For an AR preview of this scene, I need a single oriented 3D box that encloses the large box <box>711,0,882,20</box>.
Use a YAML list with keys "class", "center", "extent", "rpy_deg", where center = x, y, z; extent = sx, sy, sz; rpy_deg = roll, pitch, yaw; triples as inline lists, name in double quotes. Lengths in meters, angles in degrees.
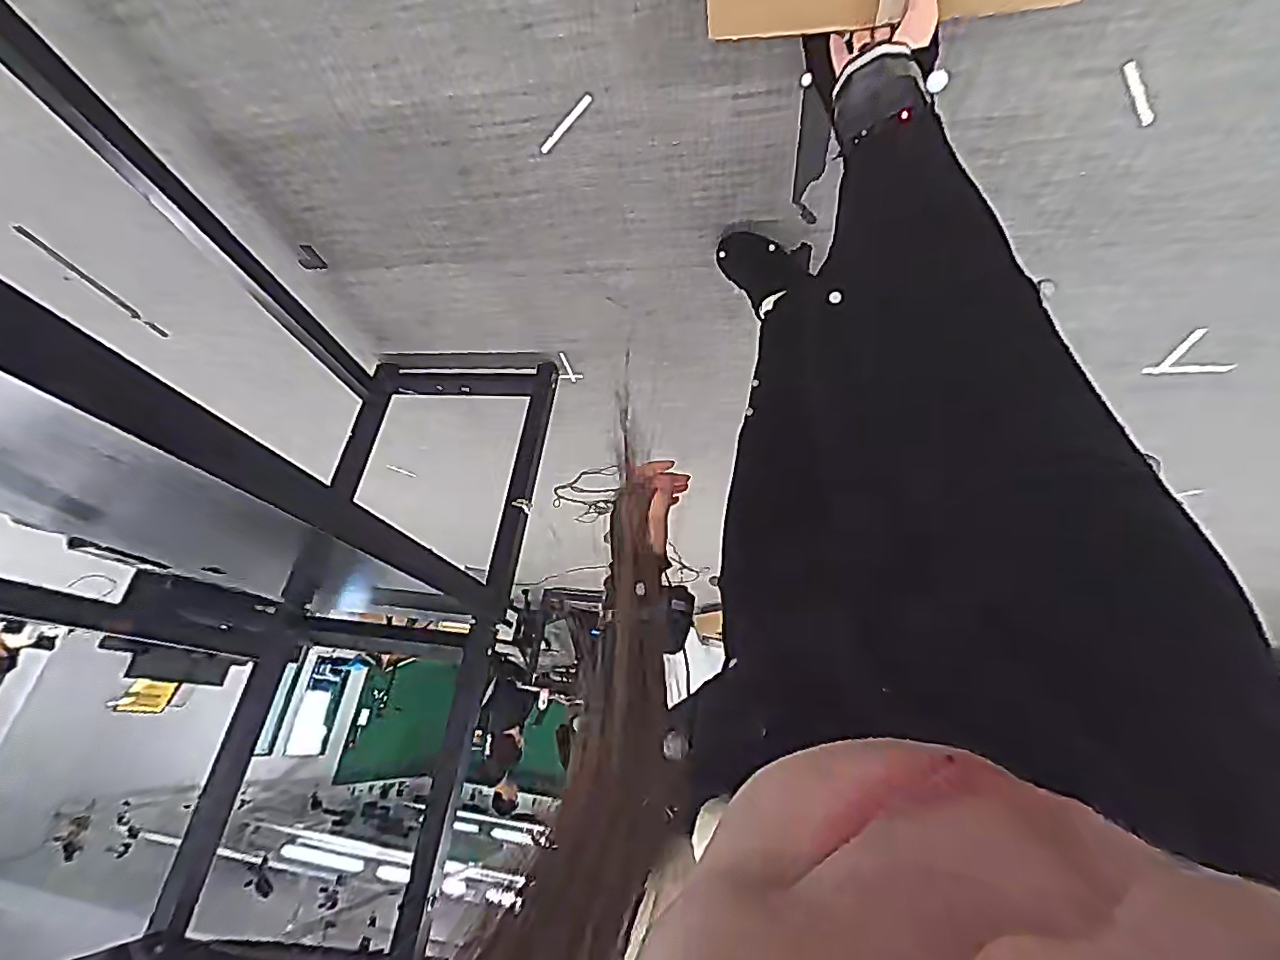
- class: "large box"
  center: [0.207, -0.637, 0.367]
  extent: [0.320, 0.320, 0.408]
  rpy_deg: [2, 151, 10]
